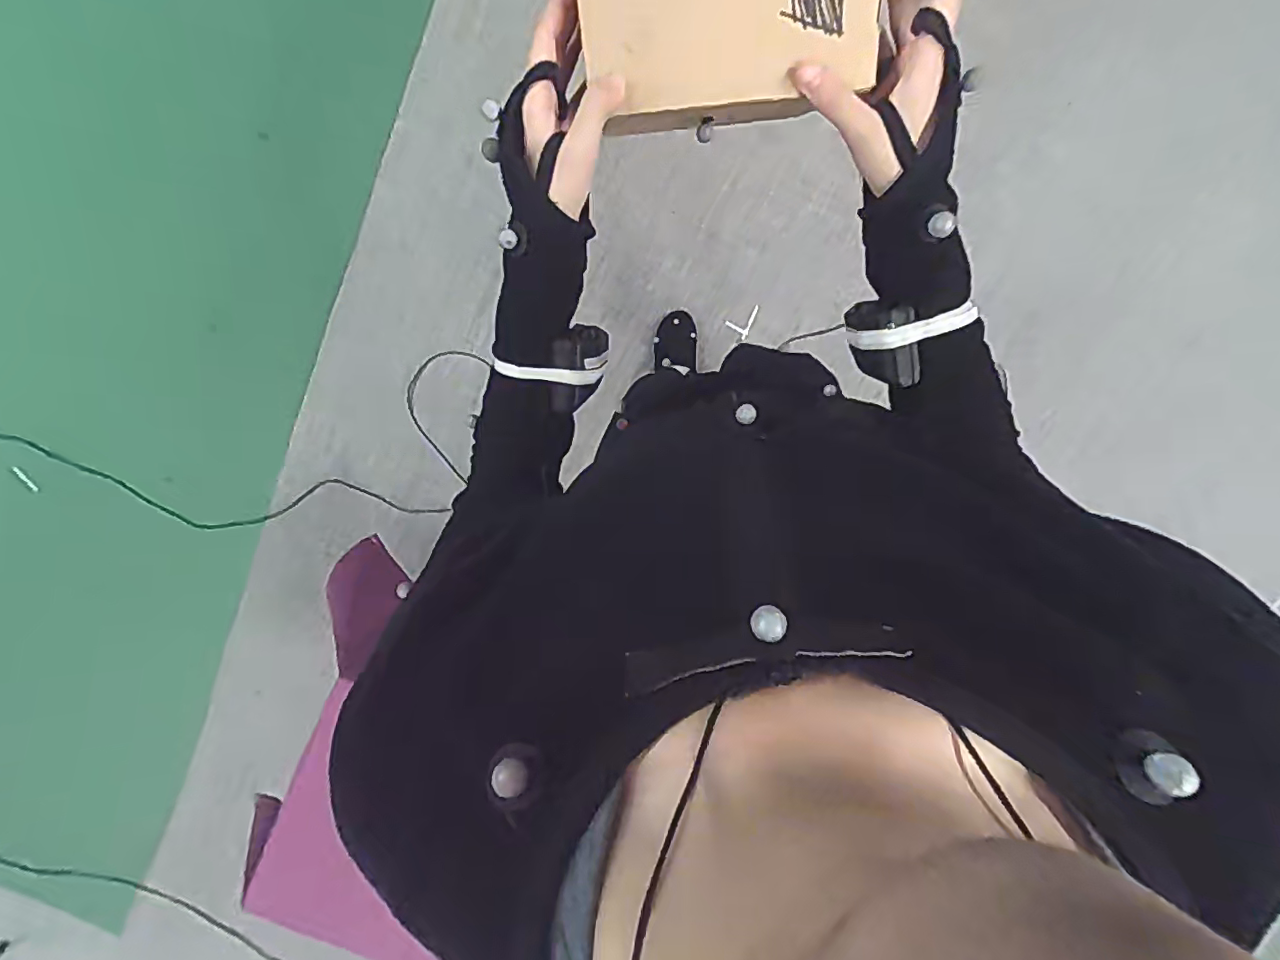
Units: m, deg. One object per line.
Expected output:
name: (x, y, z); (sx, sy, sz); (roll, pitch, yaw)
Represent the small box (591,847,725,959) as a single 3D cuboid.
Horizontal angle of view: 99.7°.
small box: (0.030, 0.760, 0.898); (0.179, 0.176, 0.168); (26, 106, -5)
